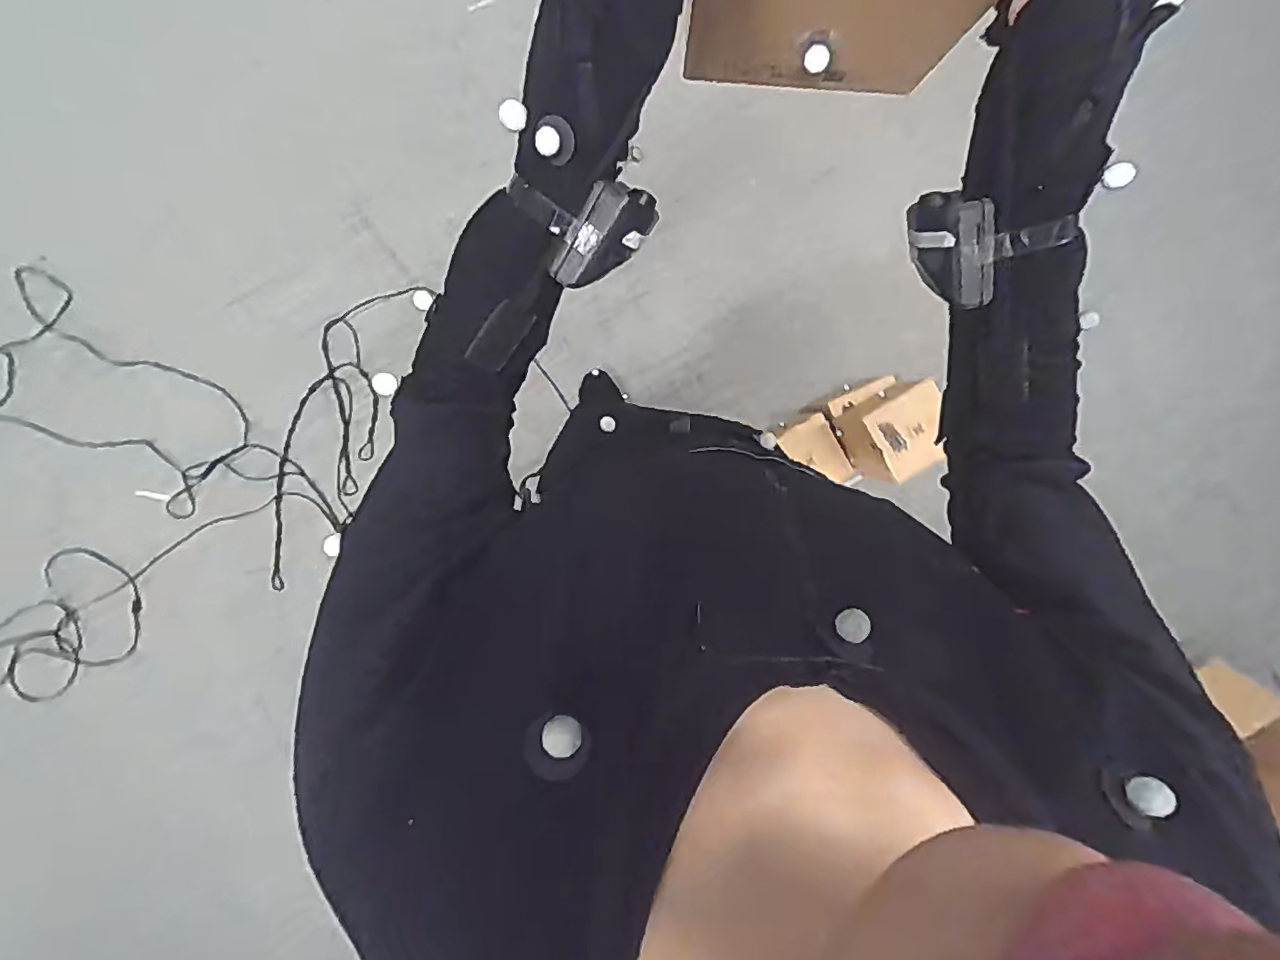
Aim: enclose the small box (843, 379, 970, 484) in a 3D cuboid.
[{"bbox_3d":[0.585,-0.107,1.220,0.179,0.176,0.168,-30,96,0],"label":"small box"}]
